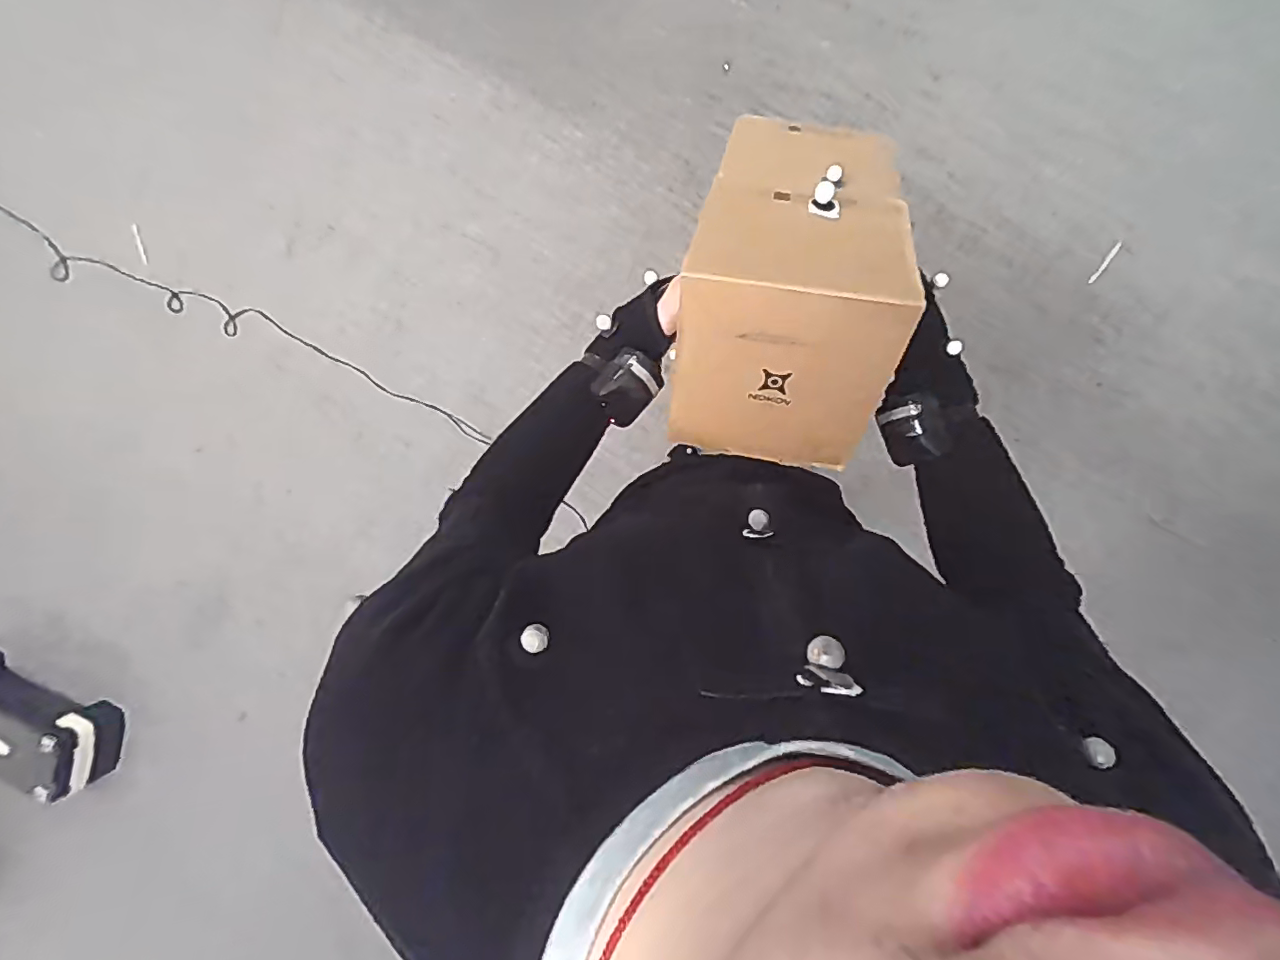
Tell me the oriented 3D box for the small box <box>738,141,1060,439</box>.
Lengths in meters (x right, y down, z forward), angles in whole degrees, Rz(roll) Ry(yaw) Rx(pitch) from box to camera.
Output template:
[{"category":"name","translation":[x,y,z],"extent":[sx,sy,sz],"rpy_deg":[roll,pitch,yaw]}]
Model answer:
[{"category":"small box","translation":[0.223,-0.173,0.499],"extent":[0.179,0.168,0.176],"rpy_deg":[21,124,-20]}]
